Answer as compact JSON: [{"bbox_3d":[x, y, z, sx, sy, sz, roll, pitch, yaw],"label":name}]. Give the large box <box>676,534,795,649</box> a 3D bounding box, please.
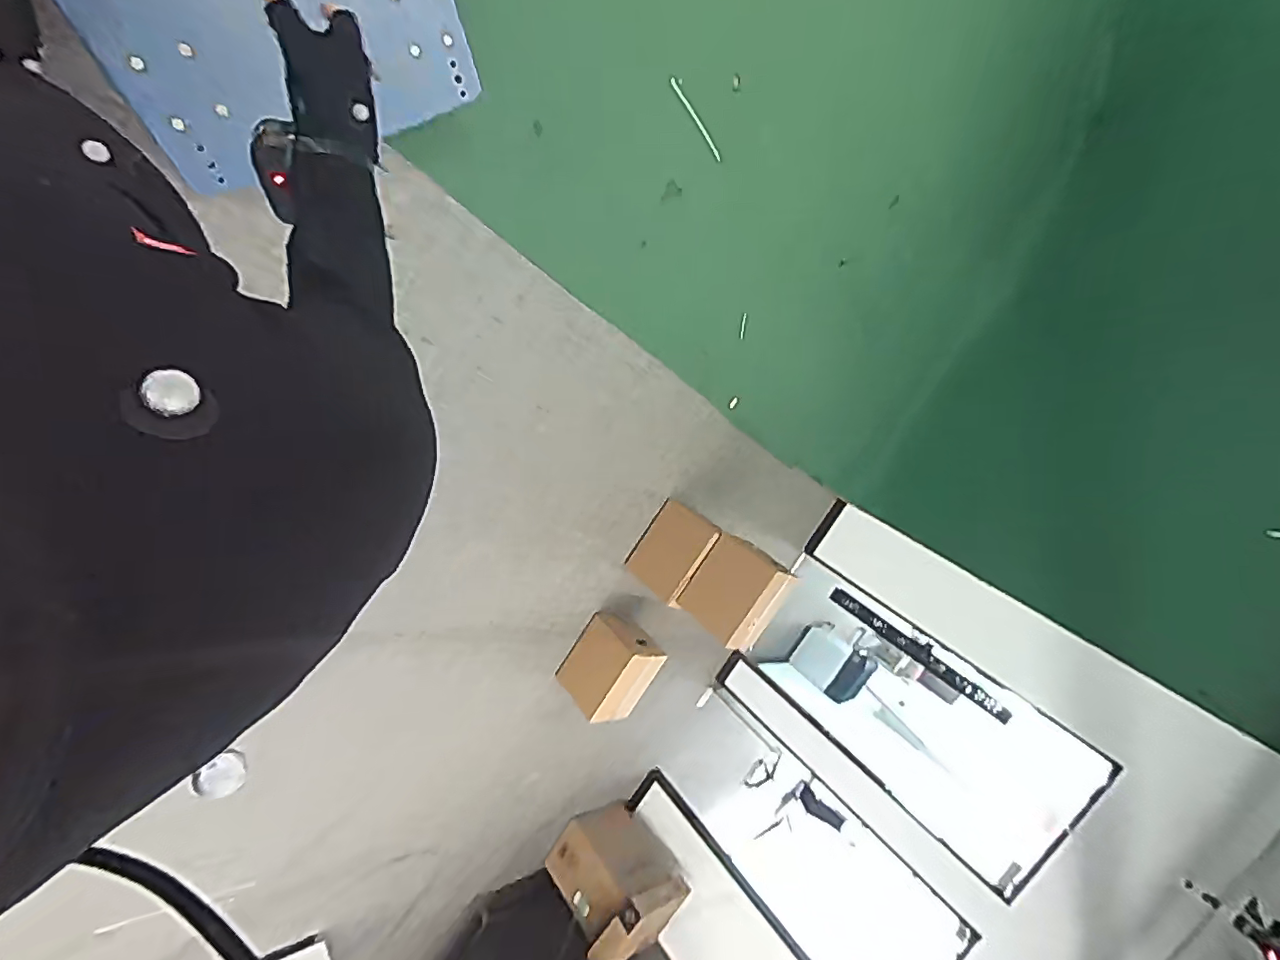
[{"bbox_3d":[0.437,0.505,2.464,0.408,0.320,0.320,-57,146,6],"label":"large box"}]
